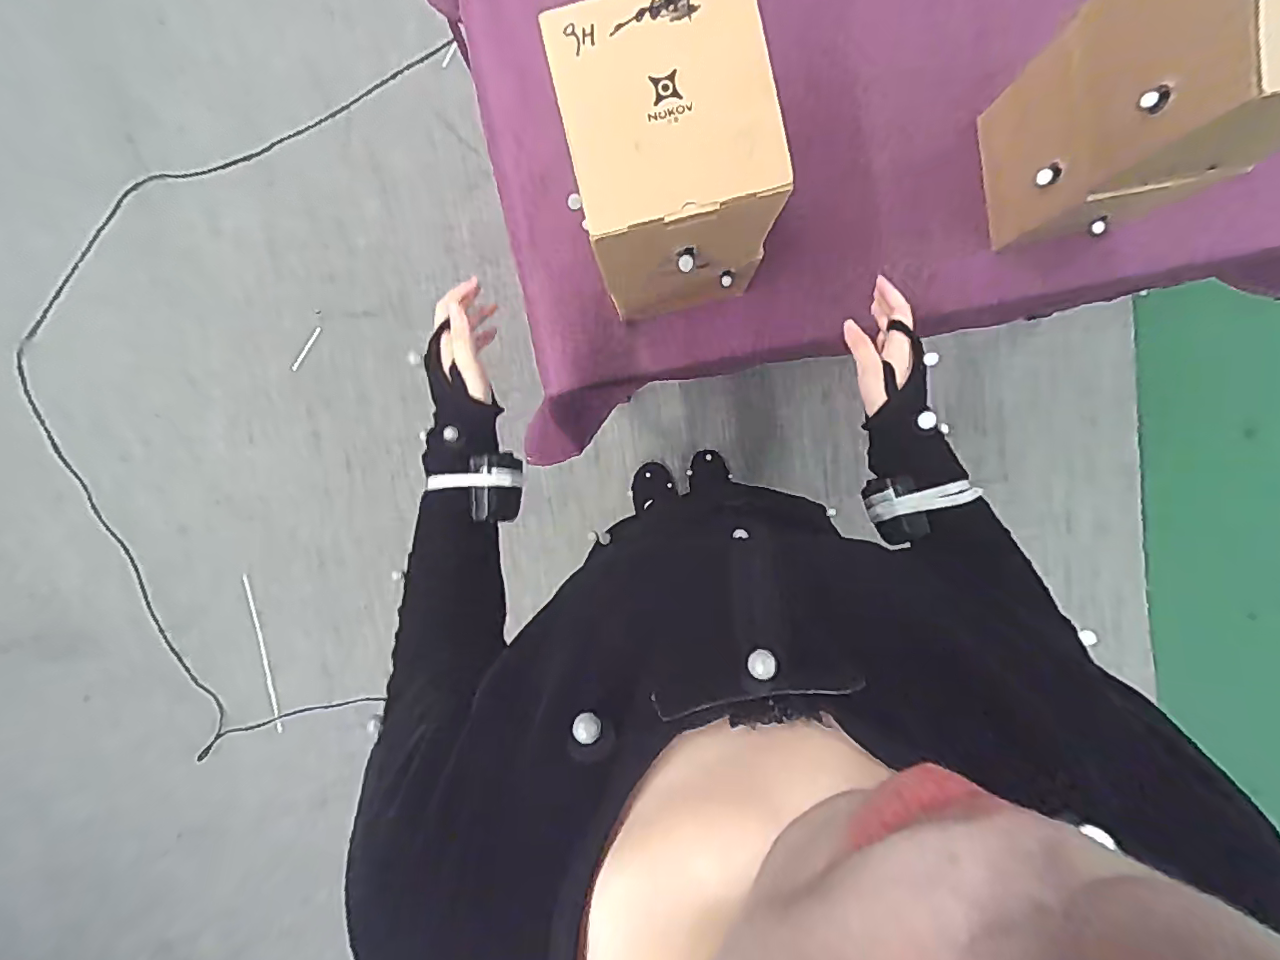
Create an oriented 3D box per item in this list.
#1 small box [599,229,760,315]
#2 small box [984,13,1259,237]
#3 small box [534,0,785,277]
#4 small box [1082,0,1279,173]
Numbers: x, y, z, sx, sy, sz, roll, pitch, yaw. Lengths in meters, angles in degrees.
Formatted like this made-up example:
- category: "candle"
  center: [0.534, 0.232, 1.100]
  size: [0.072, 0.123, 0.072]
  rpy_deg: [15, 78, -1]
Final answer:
- category: "small box"
  center: [0.033, -0.313, 0.655]
  size: [0.179, 0.176, 0.168]
  rpy_deg: [-12, 94, 3]
- category: "small box"
  center: [0.528, -0.397, 0.616]
  size: [0.168, 0.176, 0.179]
  rpy_deg: [-9, 95, 4]
- category: "small box"
  center: [0.020, -0.300, 0.491]
  size: [0.168, 0.176, 0.179]
  rpy_deg: [-13, 95, 3]
- category: "small box"
  center: [0.518, -0.385, 0.454]
  size: [0.168, 0.176, 0.179]
  rpy_deg: [-7, 95, 4]
